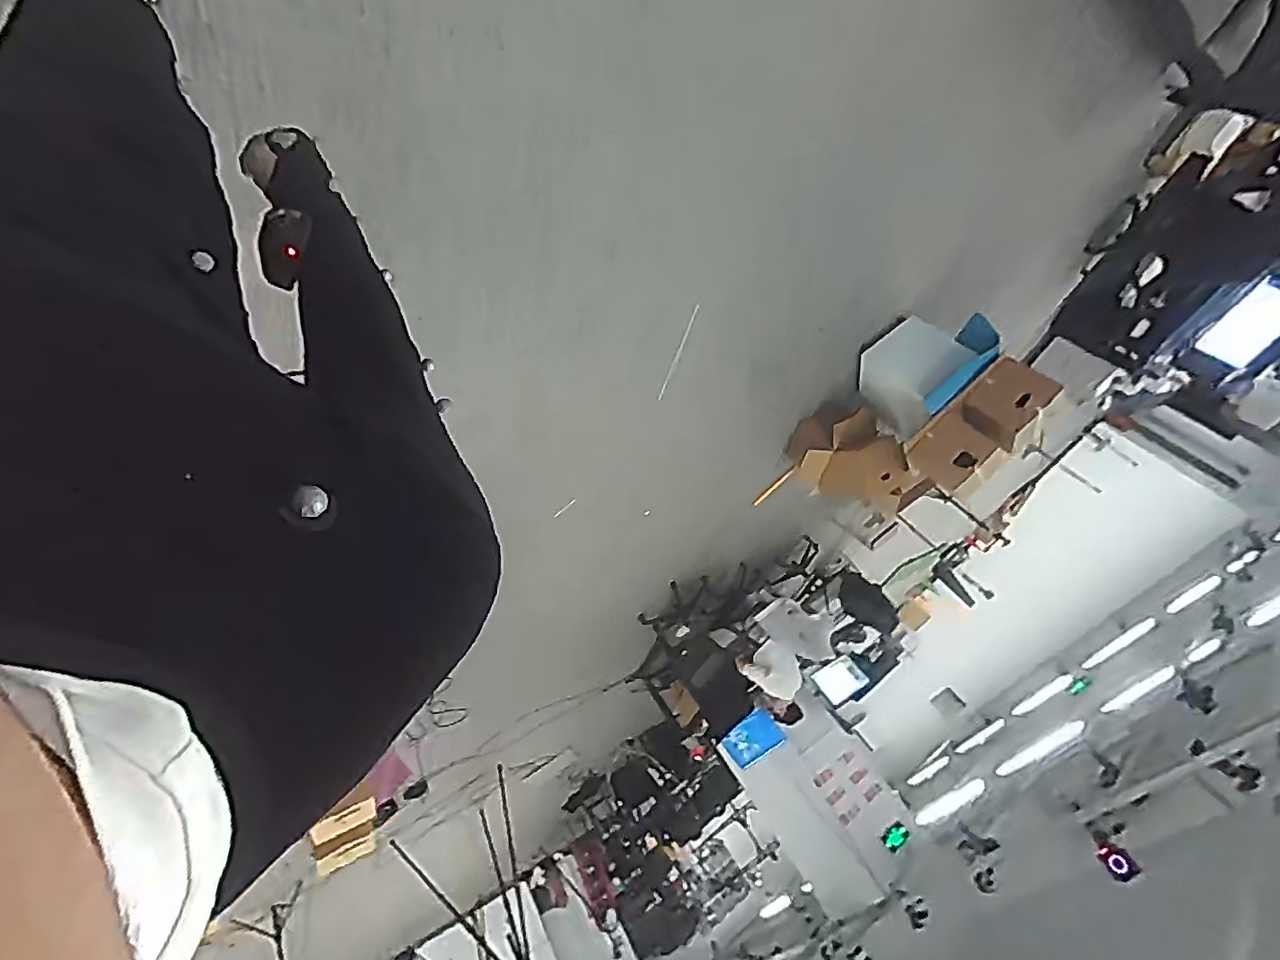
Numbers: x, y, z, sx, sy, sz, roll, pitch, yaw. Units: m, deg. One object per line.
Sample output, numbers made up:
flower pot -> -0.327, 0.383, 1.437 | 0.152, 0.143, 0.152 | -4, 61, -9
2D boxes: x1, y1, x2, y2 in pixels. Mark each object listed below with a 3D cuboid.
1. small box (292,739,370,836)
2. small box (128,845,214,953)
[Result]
small box -> -0.908, 0.897, 1.593 | 0.168, 0.176, 0.179 | -13, 143, -35
small box -> -1.329, 1.182, 1.536 | 0.168, 0.176, 0.179 | -9, 137, -38
